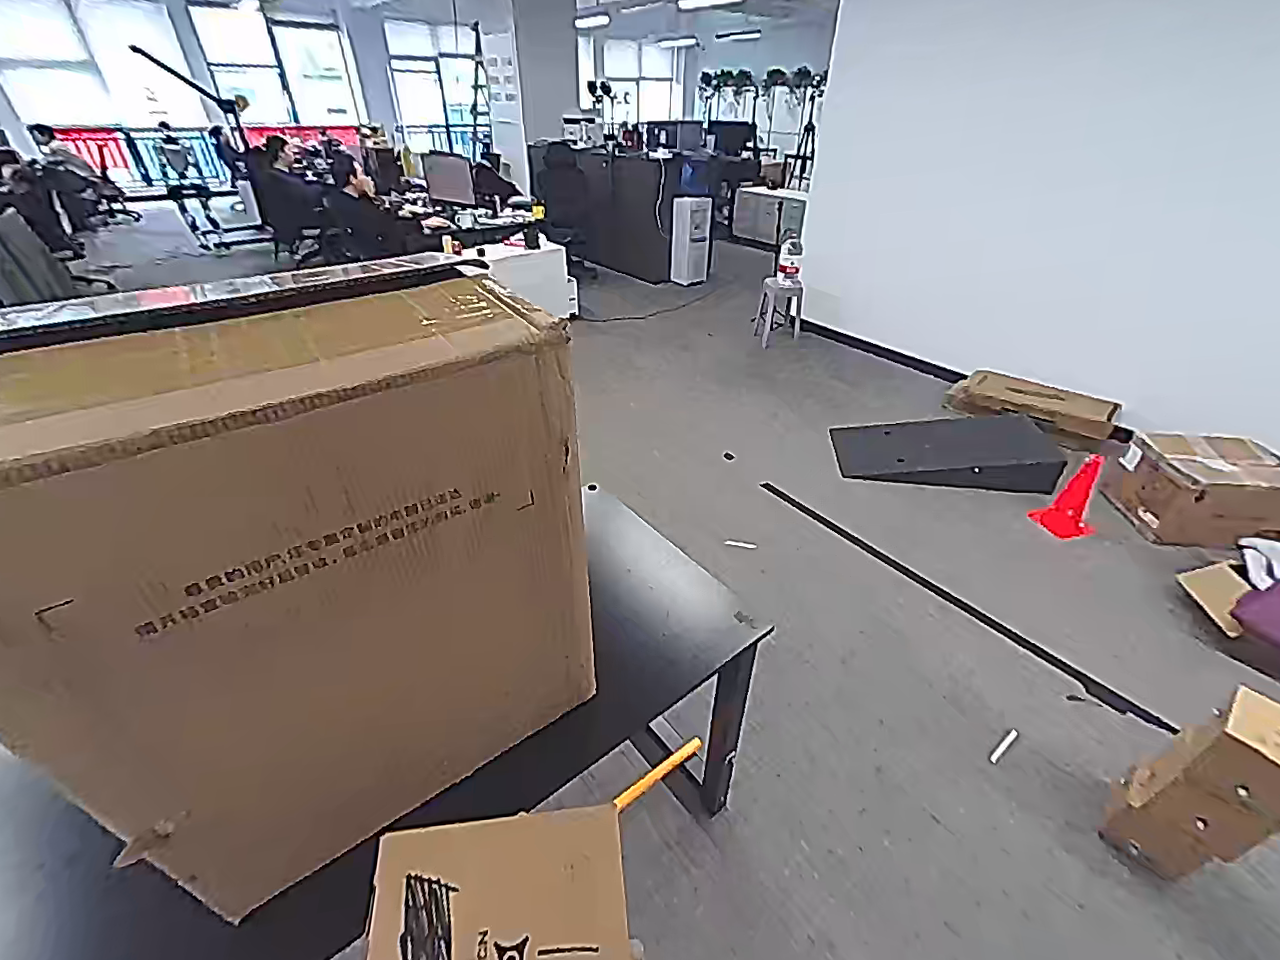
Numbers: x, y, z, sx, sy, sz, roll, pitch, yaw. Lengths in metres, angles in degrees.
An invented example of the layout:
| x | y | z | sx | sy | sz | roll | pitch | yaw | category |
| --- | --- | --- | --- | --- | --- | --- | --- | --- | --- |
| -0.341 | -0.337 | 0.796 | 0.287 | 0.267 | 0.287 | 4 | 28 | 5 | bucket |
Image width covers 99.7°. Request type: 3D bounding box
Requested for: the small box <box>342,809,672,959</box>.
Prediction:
| x | y | z | sx | sy | sz | roll | pitch | yaw | category |
| --- | --- | --- | --- | --- | --- | --- | --- | --- | --- |
| -0.073 | 0.326 | 0.336 | 0.179 | 0.176 | 0.168 | -3 | 49 | -9 | small box |

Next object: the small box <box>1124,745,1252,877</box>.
| x | y | z | sx | sy | sz | roll | pitch | yaw | category |
| --- | --- | --- | --- | --- | --- | --- | --- | --- | --- |
| 1.313 | 0.791 | 1.296 | 0.179 | 0.176 | 0.168 | -30 | 45 | -34 | small box |

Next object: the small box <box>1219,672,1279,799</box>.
| x | y | z | sx | sy | sz | roll | pitch | yaw | category |
| --- | --- | --- | --- | --- | --- | --- | --- | --- | --- |
| 1.334 | 0.533 | 1.090 | 0.179 | 0.176 | 0.168 | -26 | 42 | -32 | small box |

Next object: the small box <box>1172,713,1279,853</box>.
| x | y | z | sx | sy | sz | roll | pitch | yaw | category |
| --- | --- | --- | --- | --- | --- | --- | --- | --- | --- |
| 1.324 | 0.666 | 1.189 | 0.168 | 0.176 | 0.179 | 30 | 45 | 35 | small box |
